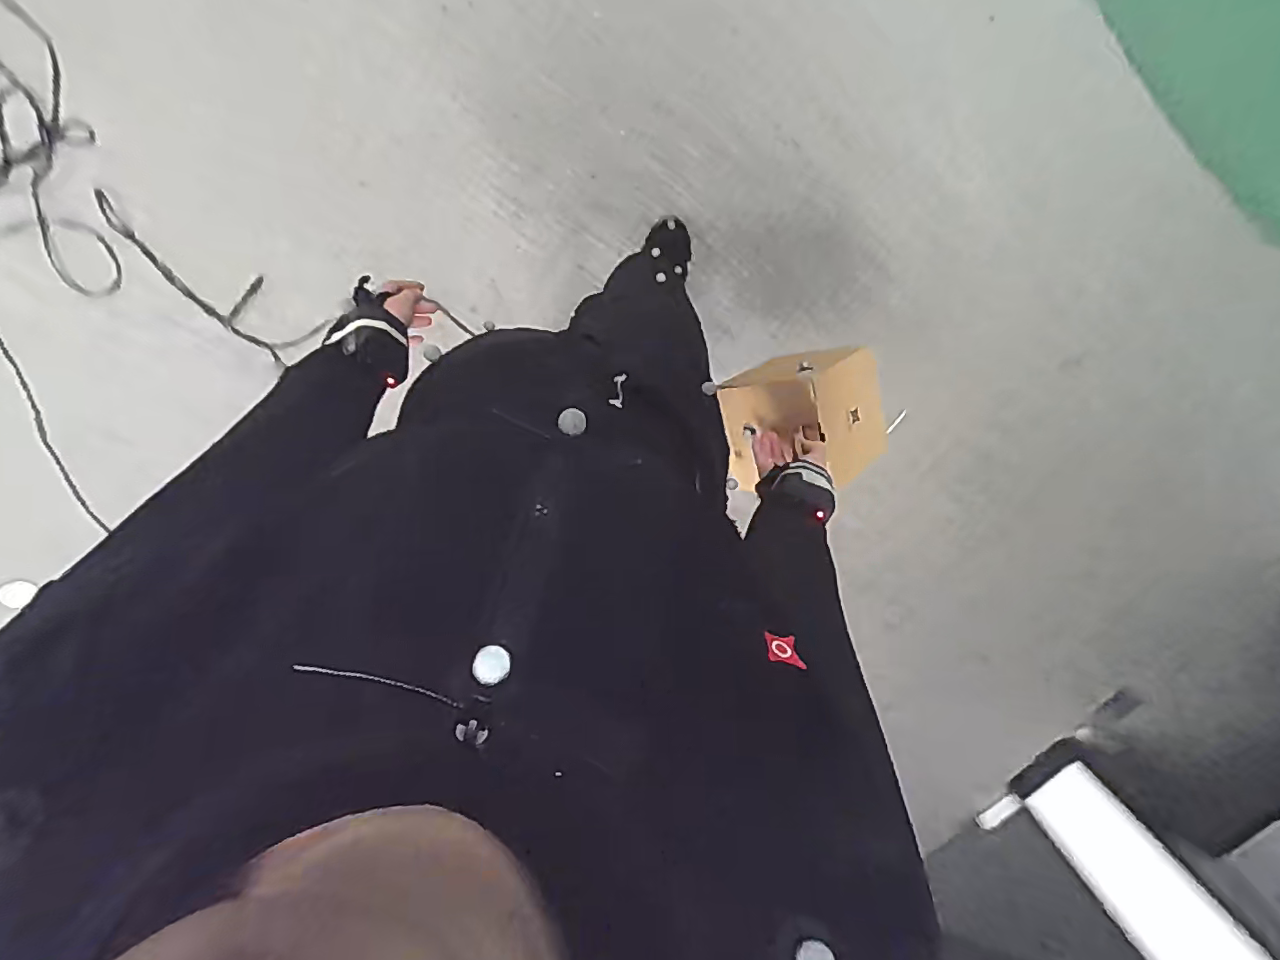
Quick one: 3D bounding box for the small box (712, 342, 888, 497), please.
[{"bbox_3d":[0.232,-0.091,0.784,0.179,0.176,0.168,-31,113,-35],"label":"small box"}]
